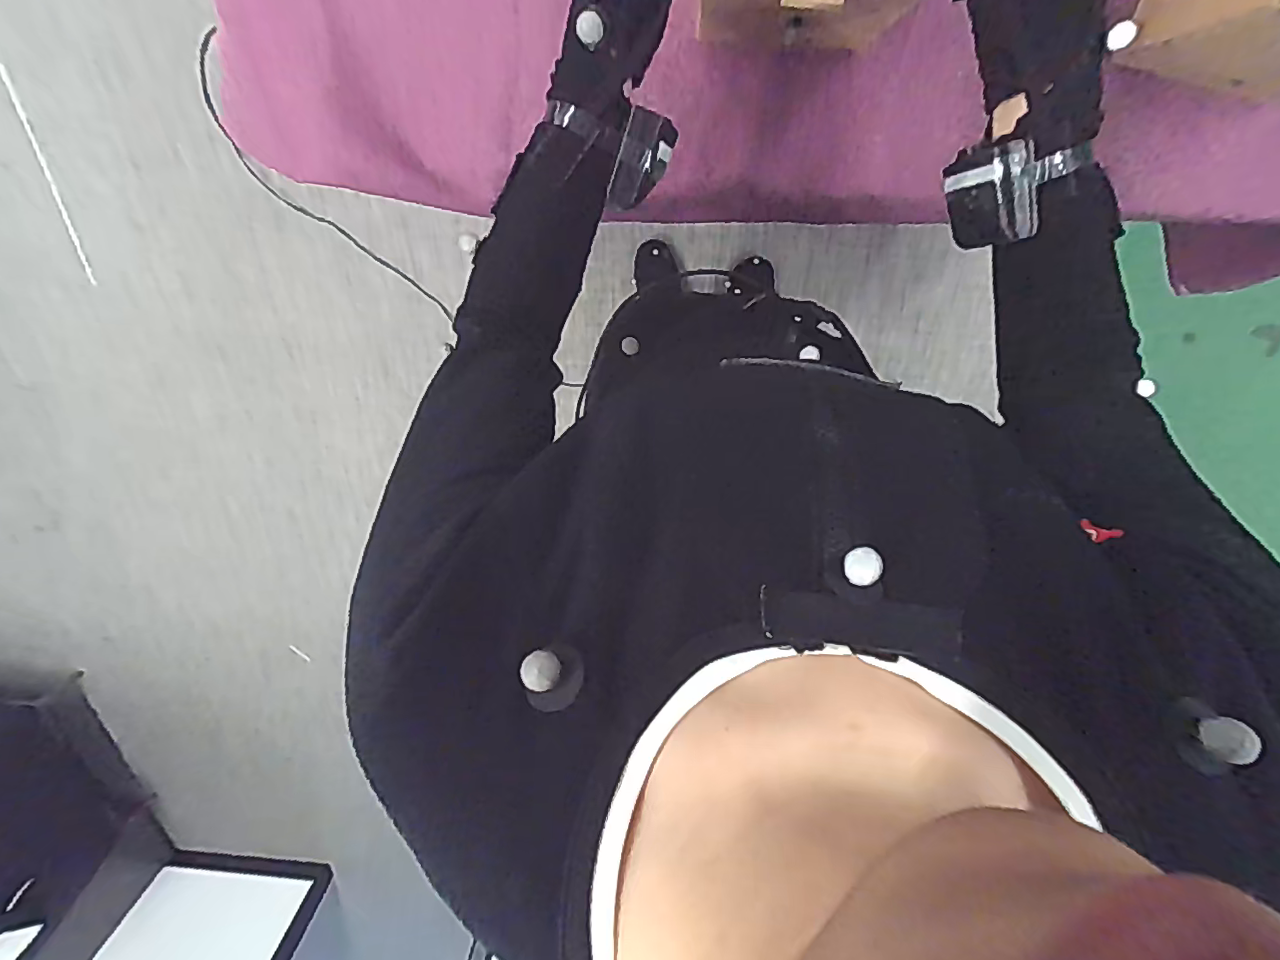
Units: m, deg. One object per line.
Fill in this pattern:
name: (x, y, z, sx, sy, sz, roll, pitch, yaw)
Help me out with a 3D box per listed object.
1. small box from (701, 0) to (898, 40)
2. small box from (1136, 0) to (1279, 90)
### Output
small box: (0.137, -0.468, 0.417, 0.168, 0.176, 0.179, 5, 118, 2)
small box: (0.539, -0.422, 0.403, 0.168, 0.176, 0.179, 13, 117, -2)
